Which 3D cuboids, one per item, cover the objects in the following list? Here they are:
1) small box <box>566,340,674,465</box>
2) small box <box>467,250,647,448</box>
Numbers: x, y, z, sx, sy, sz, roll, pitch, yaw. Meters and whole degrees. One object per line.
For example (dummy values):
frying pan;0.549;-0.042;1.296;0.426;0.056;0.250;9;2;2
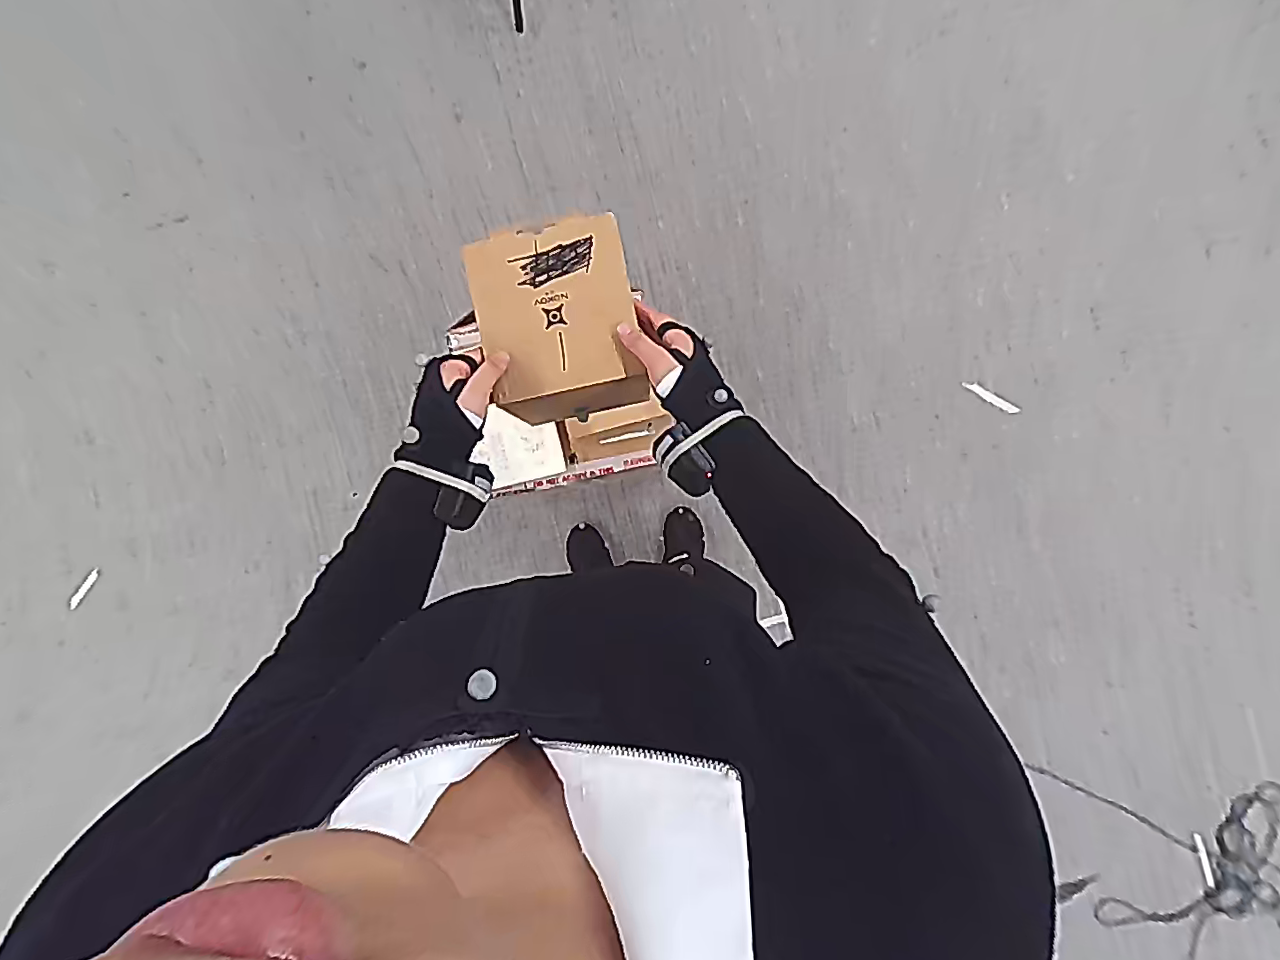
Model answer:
small box;-0.050;-0.128;0.952;0.179;0.176;0.168;-16;89;0
small box;-0.088;-0.142;0.645;0.168;0.176;0.179;-11;89;1
